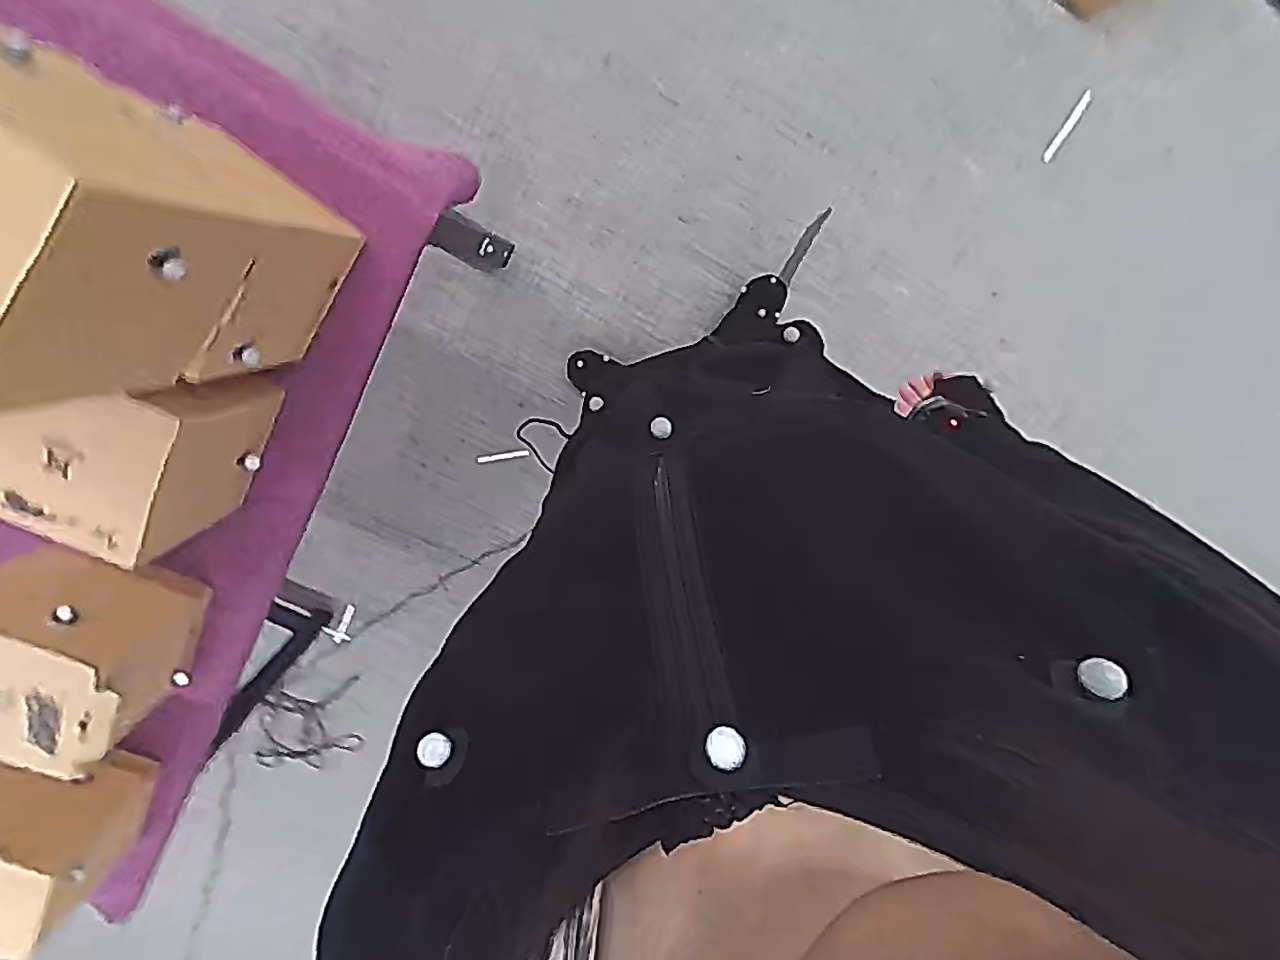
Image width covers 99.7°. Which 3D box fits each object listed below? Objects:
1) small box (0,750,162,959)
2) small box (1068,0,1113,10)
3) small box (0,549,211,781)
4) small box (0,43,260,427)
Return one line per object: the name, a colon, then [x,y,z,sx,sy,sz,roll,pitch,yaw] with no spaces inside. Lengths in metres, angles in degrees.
small box: [-0.803,0.487,0.729,0.168,0.176,0.179,25,105,-11]
small box: [0.946,-1.084,1.062,0.179,0.176,0.168,30,104,-13]
small box: [-0.664,0.206,0.640,0.179,0.176,0.168,25,105,-10]
small box: [-0.401,-0.163,0.355,0.168,0.176,0.179,40,104,-12]
